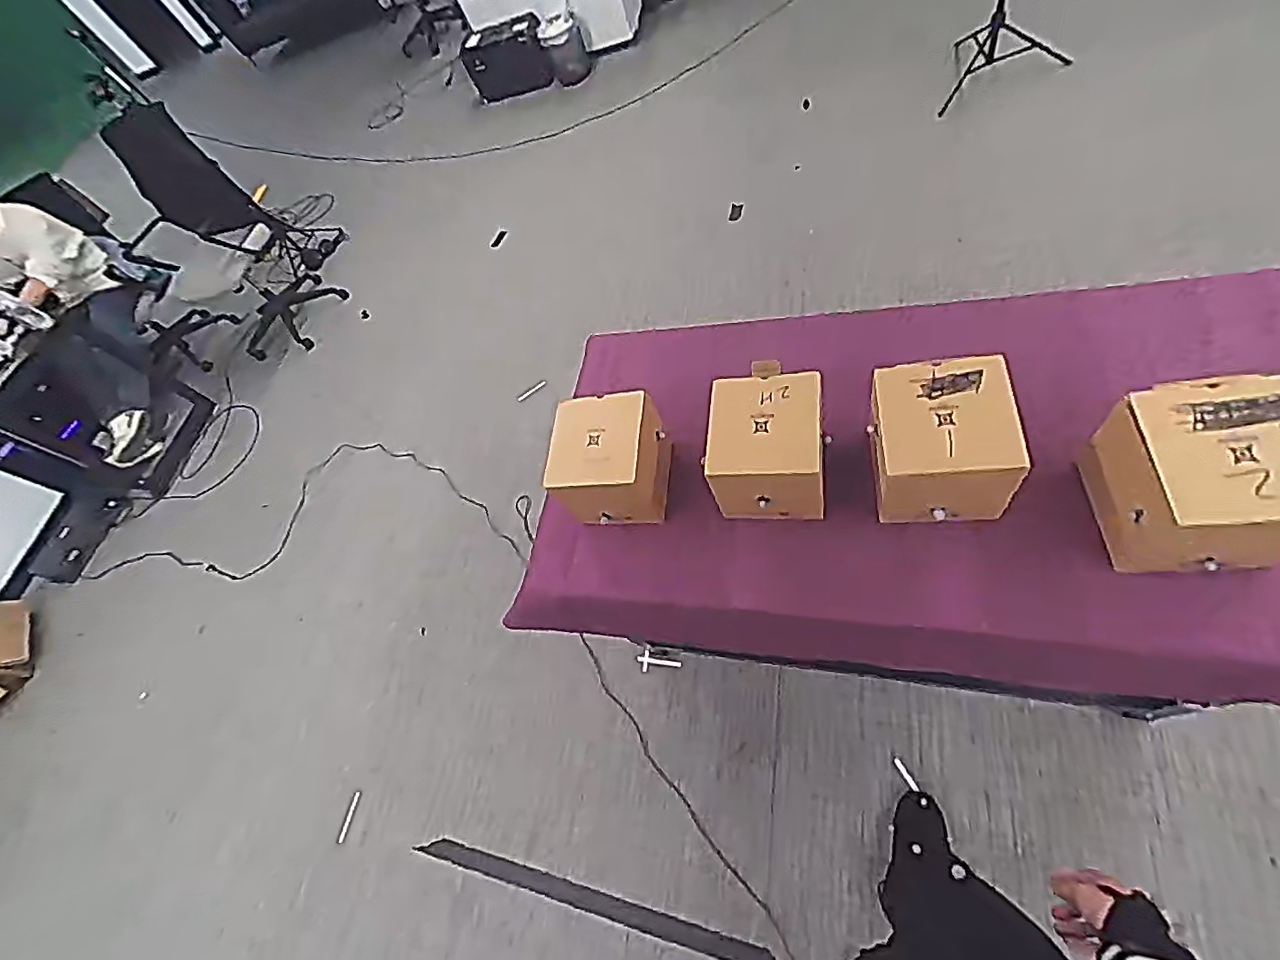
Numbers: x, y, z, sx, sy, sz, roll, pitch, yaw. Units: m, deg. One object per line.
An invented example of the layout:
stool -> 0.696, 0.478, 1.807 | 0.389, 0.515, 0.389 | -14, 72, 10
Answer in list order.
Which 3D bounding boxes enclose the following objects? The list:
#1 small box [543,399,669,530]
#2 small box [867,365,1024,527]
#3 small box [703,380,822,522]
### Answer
small box -> -0.050, -0.022, 0.976 | 0.168, 0.176, 0.179 | -3, 61, 20
small box -> 0.436, -0.043, 0.803 | 0.168, 0.176, 0.179 | -4, 62, 19
small box -> 0.209, -0.039, 0.887 | 0.168, 0.176, 0.179 | -1, 62, 20
